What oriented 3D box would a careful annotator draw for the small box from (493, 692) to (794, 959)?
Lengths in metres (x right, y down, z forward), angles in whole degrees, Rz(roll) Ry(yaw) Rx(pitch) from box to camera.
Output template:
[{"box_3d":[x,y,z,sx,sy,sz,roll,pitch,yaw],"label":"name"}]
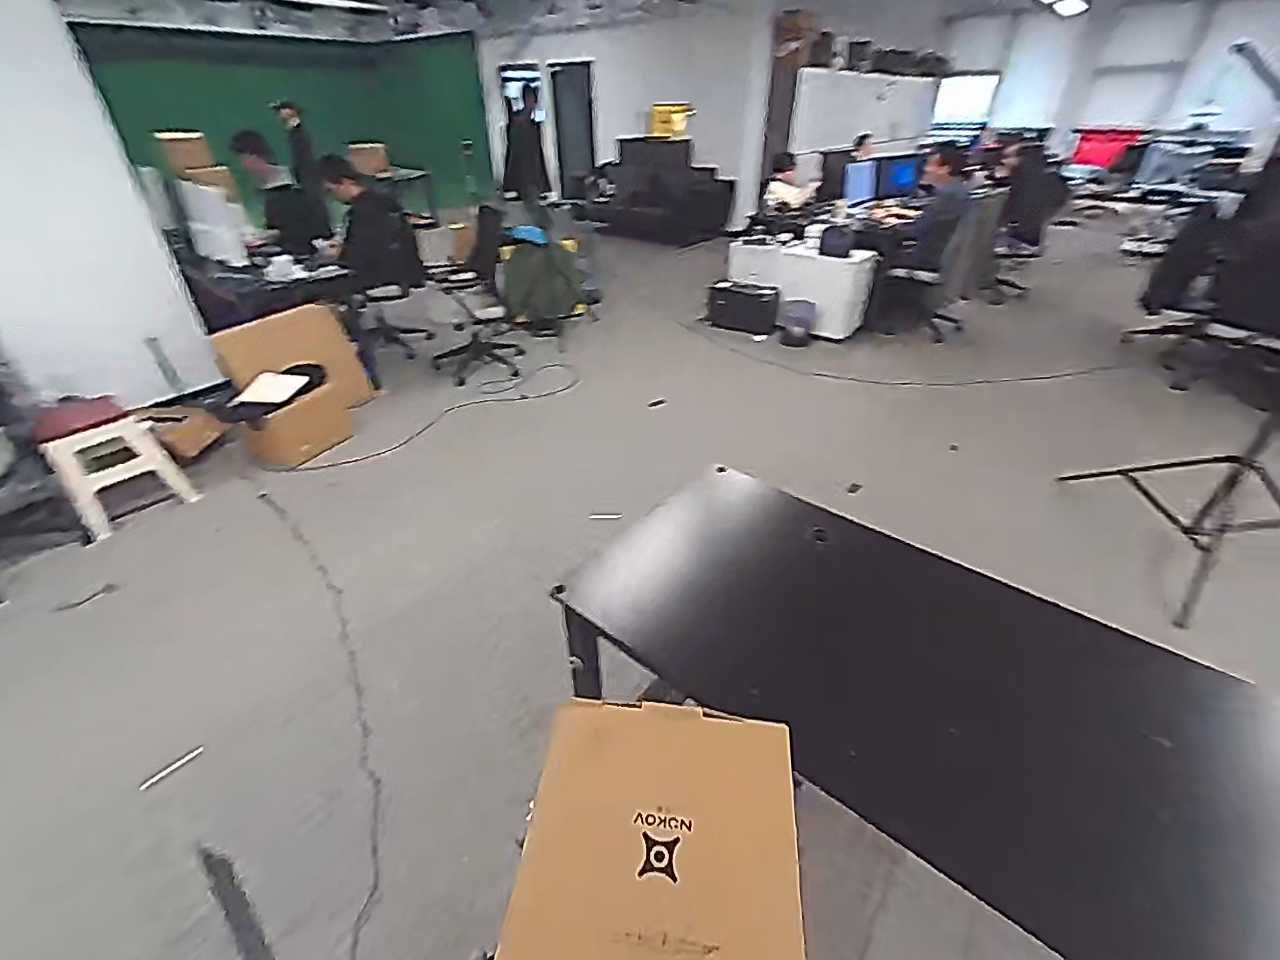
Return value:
[{"box_3d":[0.009,0.282,0.389,0.168,0.176,0.179,3,42,5],"label":"small box"}]
